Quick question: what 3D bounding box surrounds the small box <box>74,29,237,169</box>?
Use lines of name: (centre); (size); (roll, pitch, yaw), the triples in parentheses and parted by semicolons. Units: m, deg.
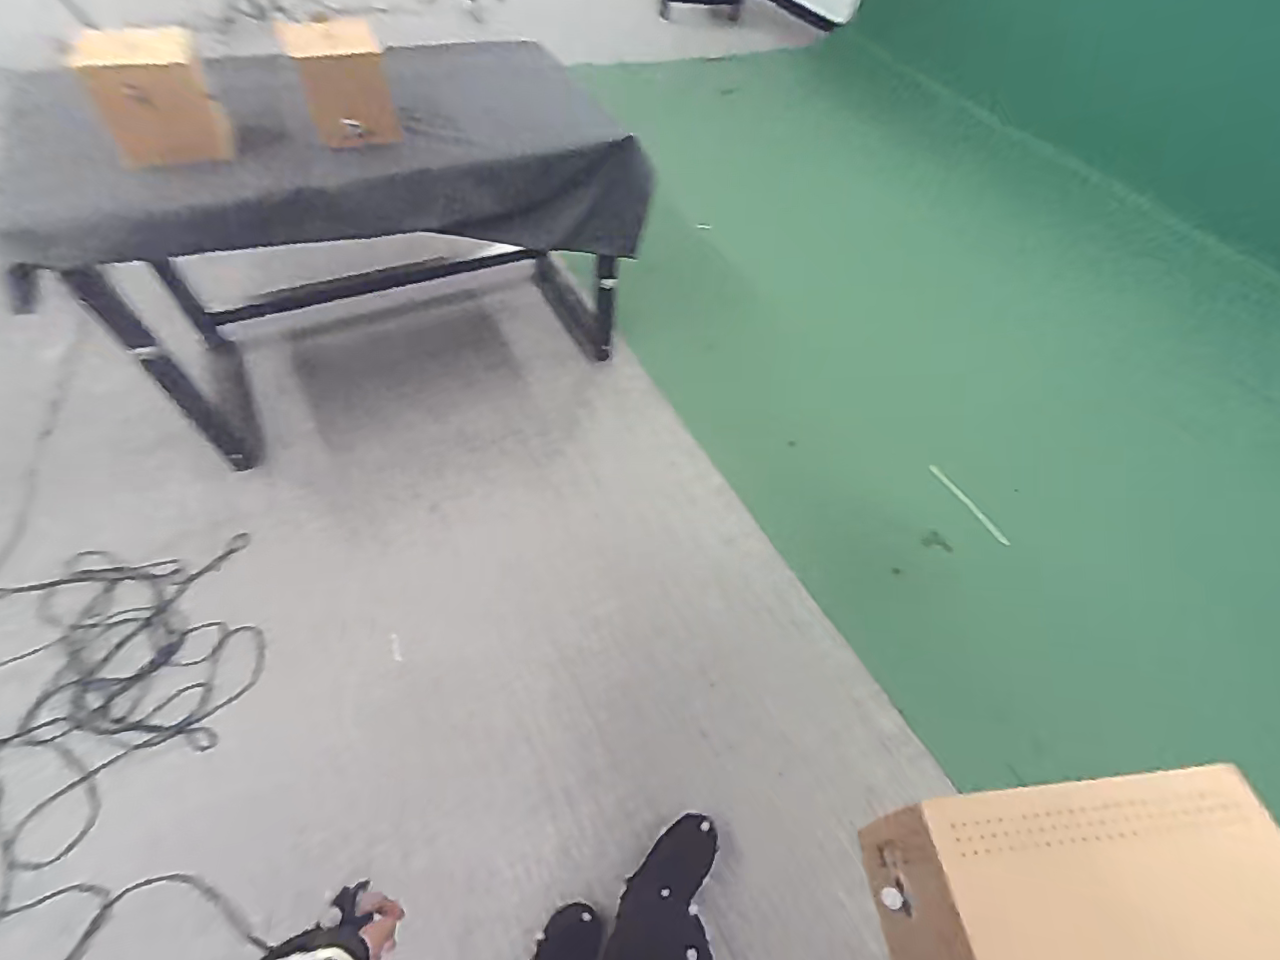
small box: (-0.898, -0.719, 1.025); (0.179, 0.176, 0.168); (-16, 59, -18)

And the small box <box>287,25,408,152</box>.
small box: (-0.607, -0.820, 1.134); (0.168, 0.176, 0.179); (-21, 61, -19)
